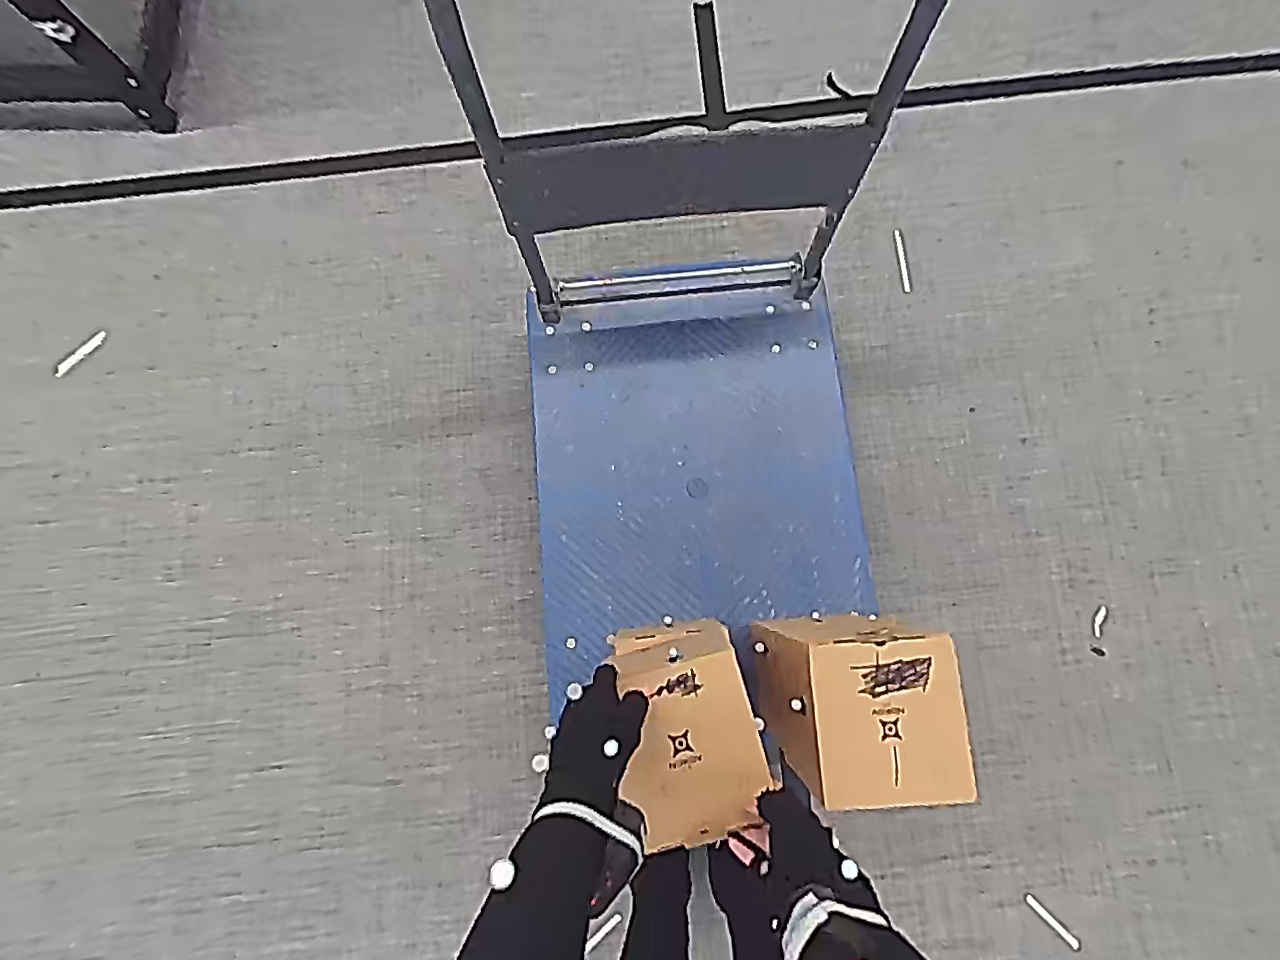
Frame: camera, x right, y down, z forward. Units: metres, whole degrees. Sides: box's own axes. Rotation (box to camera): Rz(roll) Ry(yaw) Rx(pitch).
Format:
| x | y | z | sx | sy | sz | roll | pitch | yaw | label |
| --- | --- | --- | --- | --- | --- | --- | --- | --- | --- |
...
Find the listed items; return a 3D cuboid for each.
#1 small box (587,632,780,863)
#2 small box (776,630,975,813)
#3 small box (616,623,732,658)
| x | y | z | sx | sy | sz | roll | pitch | yaw | label |
| --- | --- | --- | --- | --- | --- | --- | --- | --- | --- |
| 0.048 | 0.297 | 0.639 | 0.168 | 0.176 | 0.179 | -16 | 83 | 1 | small box |
| 0.274 | 0.282 | 0.673 | 0.168 | 0.176 | 0.179 | -3 | 80 | 0 | small box |
| 0.057 | 0.324 | 0.835 | 0.168 | 0.176 | 0.179 | -6 | 79 | -1 | small box |
